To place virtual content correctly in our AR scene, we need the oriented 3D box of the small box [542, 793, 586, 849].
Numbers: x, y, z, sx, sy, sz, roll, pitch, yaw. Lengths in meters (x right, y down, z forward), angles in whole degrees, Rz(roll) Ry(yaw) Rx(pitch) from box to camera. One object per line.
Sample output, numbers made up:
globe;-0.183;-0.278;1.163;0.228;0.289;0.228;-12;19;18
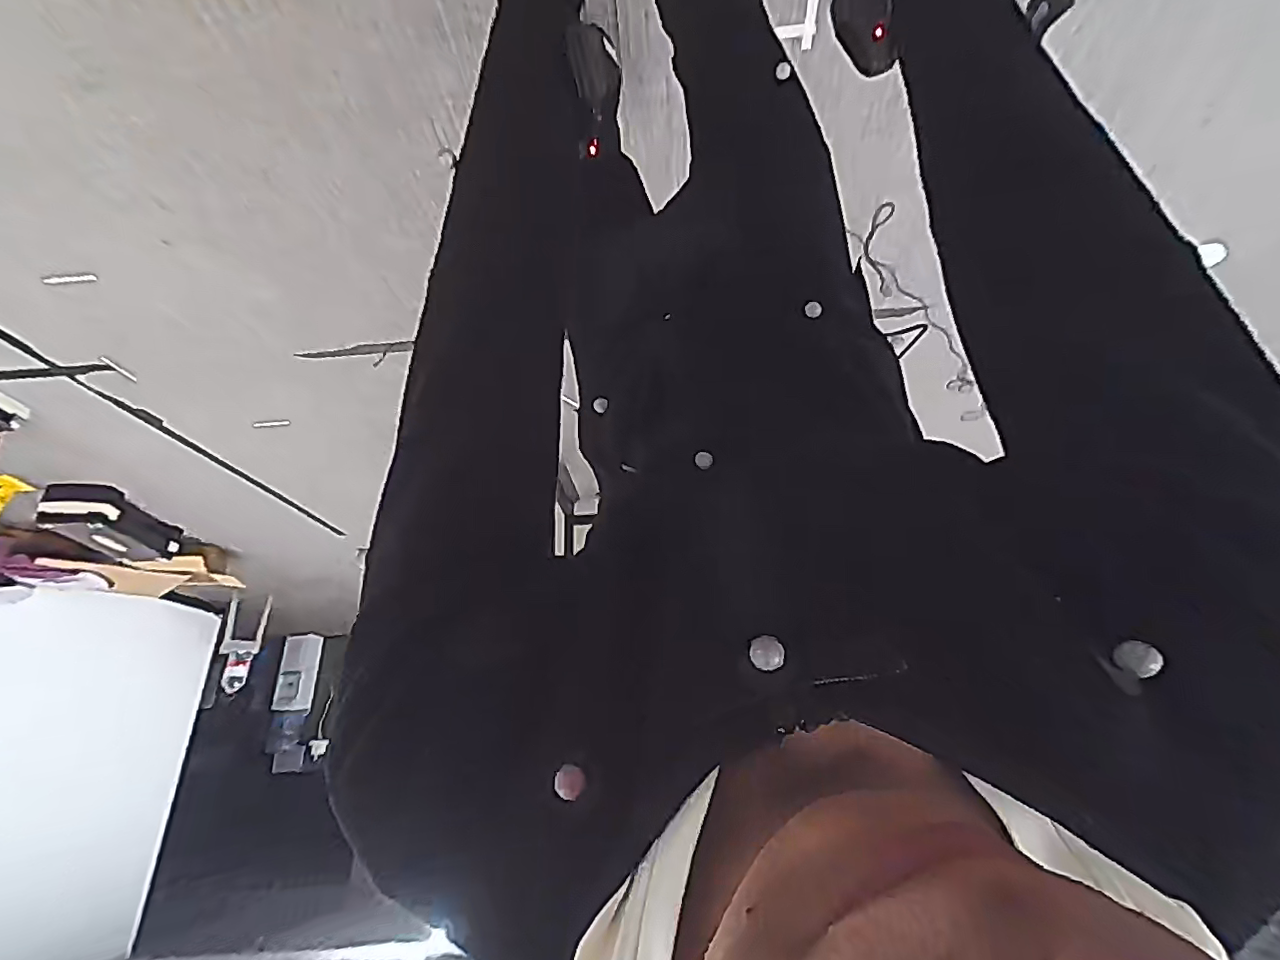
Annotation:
small box;-0.301;1.363;2.169;0.168;0.176;0.179;-3;154;-4
